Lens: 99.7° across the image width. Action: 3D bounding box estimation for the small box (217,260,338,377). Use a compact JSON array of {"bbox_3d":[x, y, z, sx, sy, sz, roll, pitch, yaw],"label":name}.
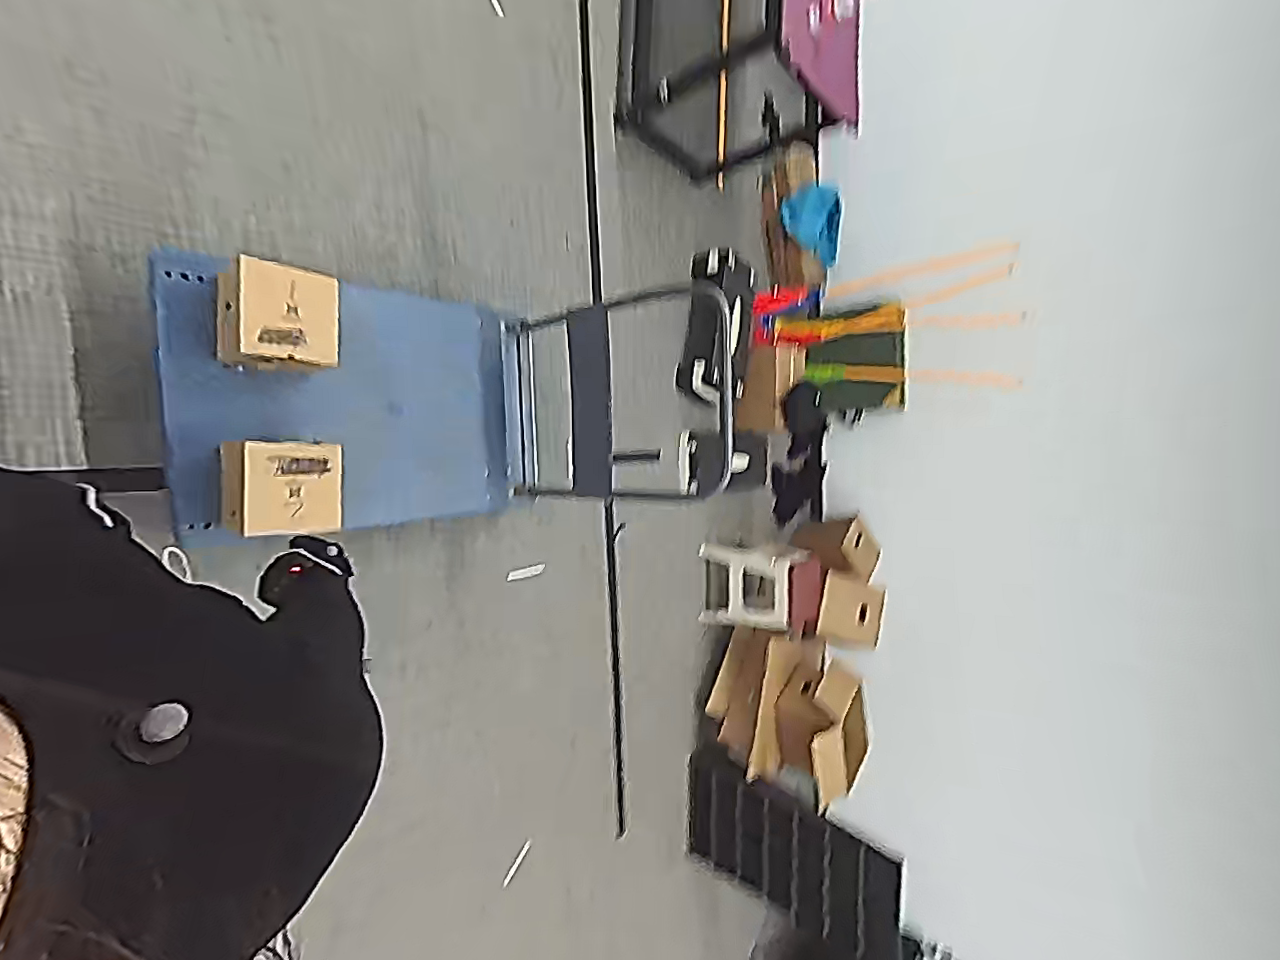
[{"bbox_3d":[-0.726,-0.309,1.082,0.168,0.176,0.179,1,90,-50],"label":"small box"}]
